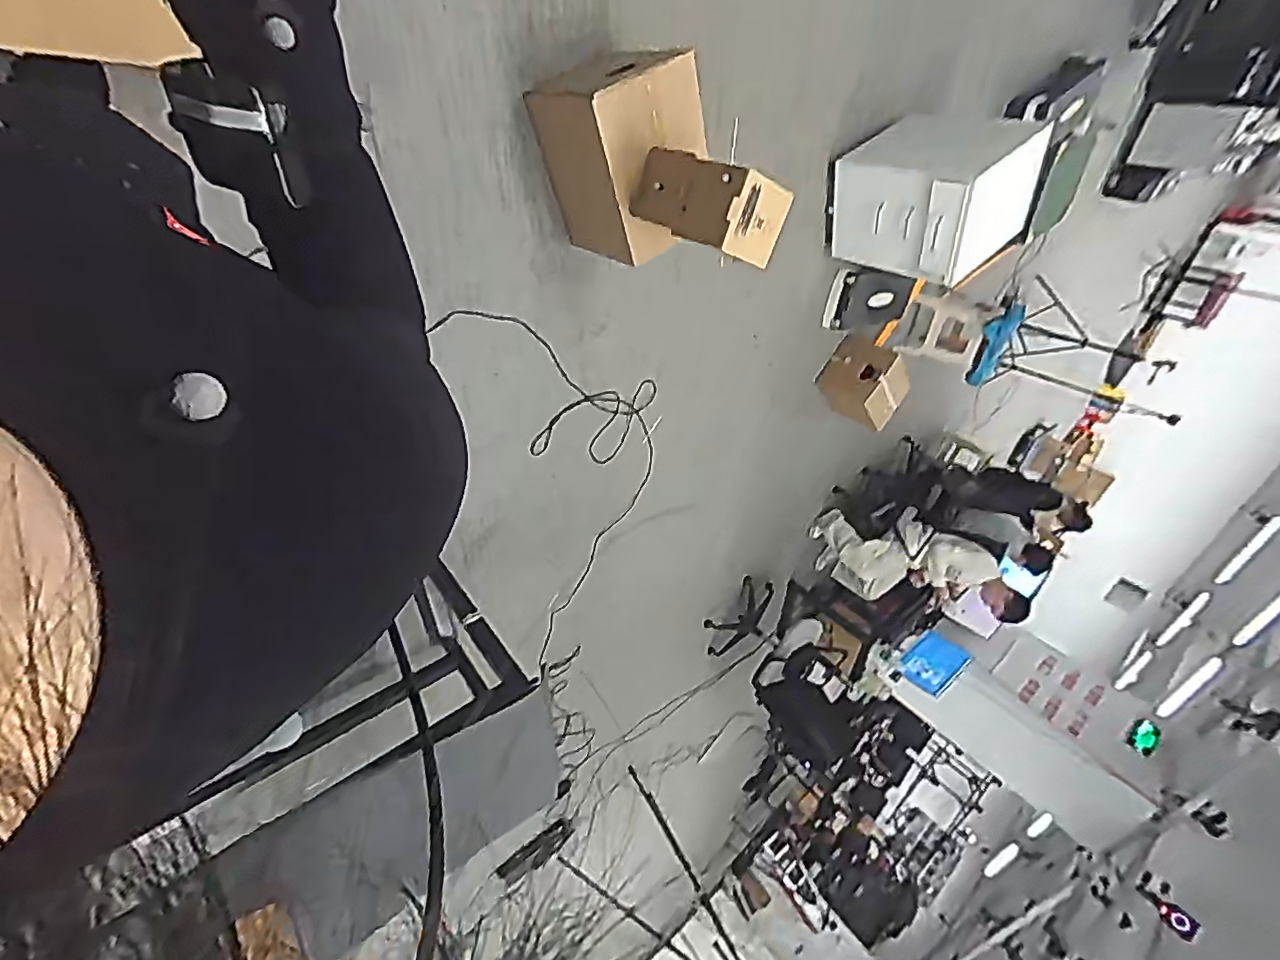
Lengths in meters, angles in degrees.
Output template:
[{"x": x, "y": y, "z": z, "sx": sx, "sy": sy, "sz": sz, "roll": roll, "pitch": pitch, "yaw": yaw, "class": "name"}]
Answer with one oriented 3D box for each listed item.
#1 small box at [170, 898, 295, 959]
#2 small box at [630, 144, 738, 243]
[{"x": -0.788, "y": 0.963, "z": 1.030, "sx": 0.179, "sy": 0.176, "sz": 0.168, "roll": 6, "pitch": 115, "yaw": -50, "class": "small box"}, {"x": 0.103, "y": -0.713, "z": 1.345, "sx": 0.179, "sy": 0.176, "sz": 0.168, "roll": -1, "pitch": 120, "yaw": -43, "class": "small box"}]
